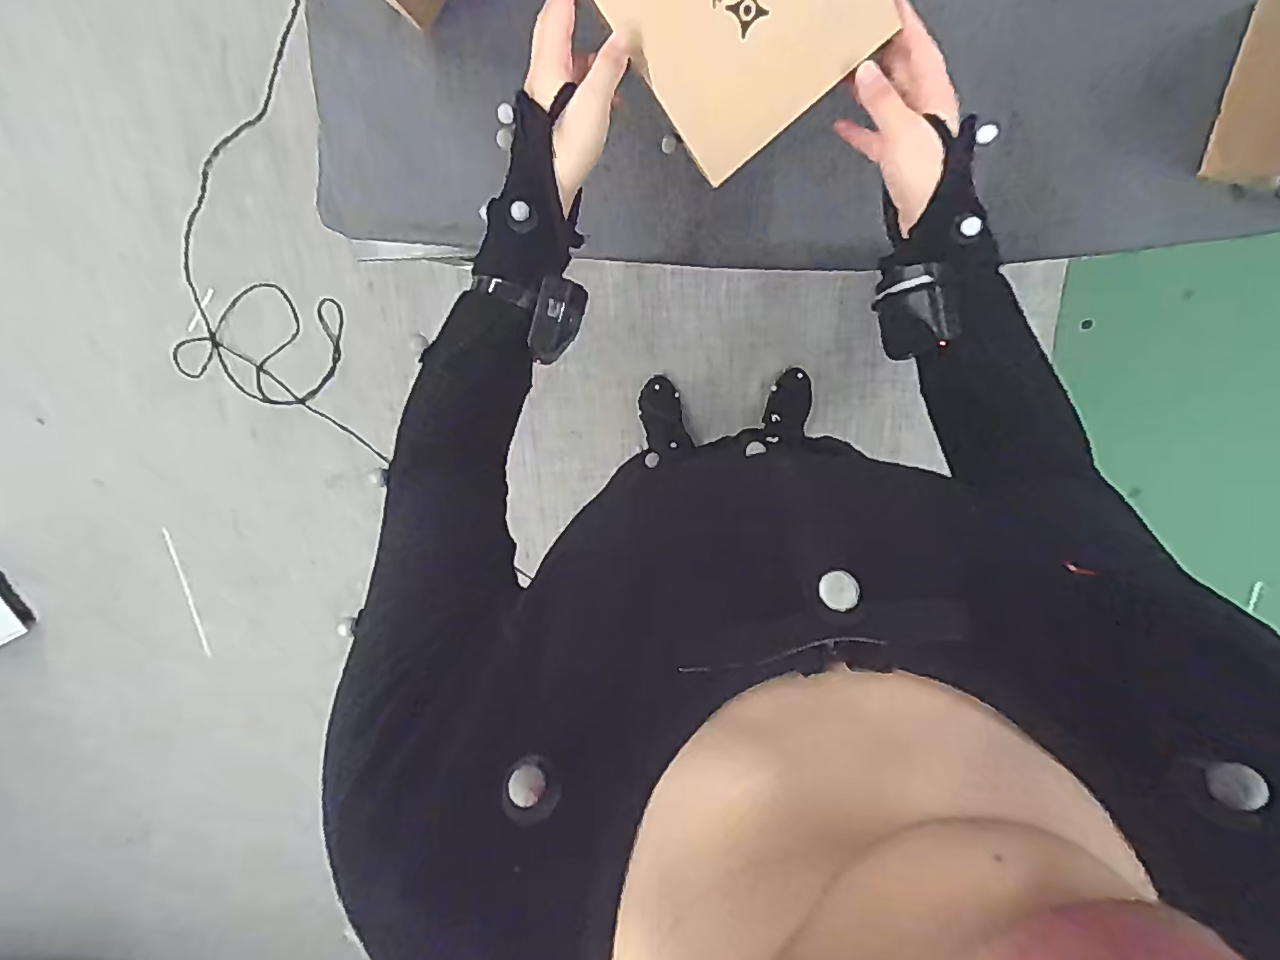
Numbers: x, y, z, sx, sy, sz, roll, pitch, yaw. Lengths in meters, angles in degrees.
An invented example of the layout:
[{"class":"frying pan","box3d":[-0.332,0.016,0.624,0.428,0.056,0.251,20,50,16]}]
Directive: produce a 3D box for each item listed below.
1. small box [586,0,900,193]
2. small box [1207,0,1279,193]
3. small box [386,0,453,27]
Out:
[{"class":"small box","box3d":[0.071,-0.377,0.439,0.168,0.176,0.179,-33,120,22]},{"class":"small box","box3d":[0.697,-0.381,0.494,0.168,0.176,0.179,8,104,4]},{"class":"small box","box3d":[-0.261,-0.592,0.508,0.179,0.176,0.168,38,106,-8]}]
